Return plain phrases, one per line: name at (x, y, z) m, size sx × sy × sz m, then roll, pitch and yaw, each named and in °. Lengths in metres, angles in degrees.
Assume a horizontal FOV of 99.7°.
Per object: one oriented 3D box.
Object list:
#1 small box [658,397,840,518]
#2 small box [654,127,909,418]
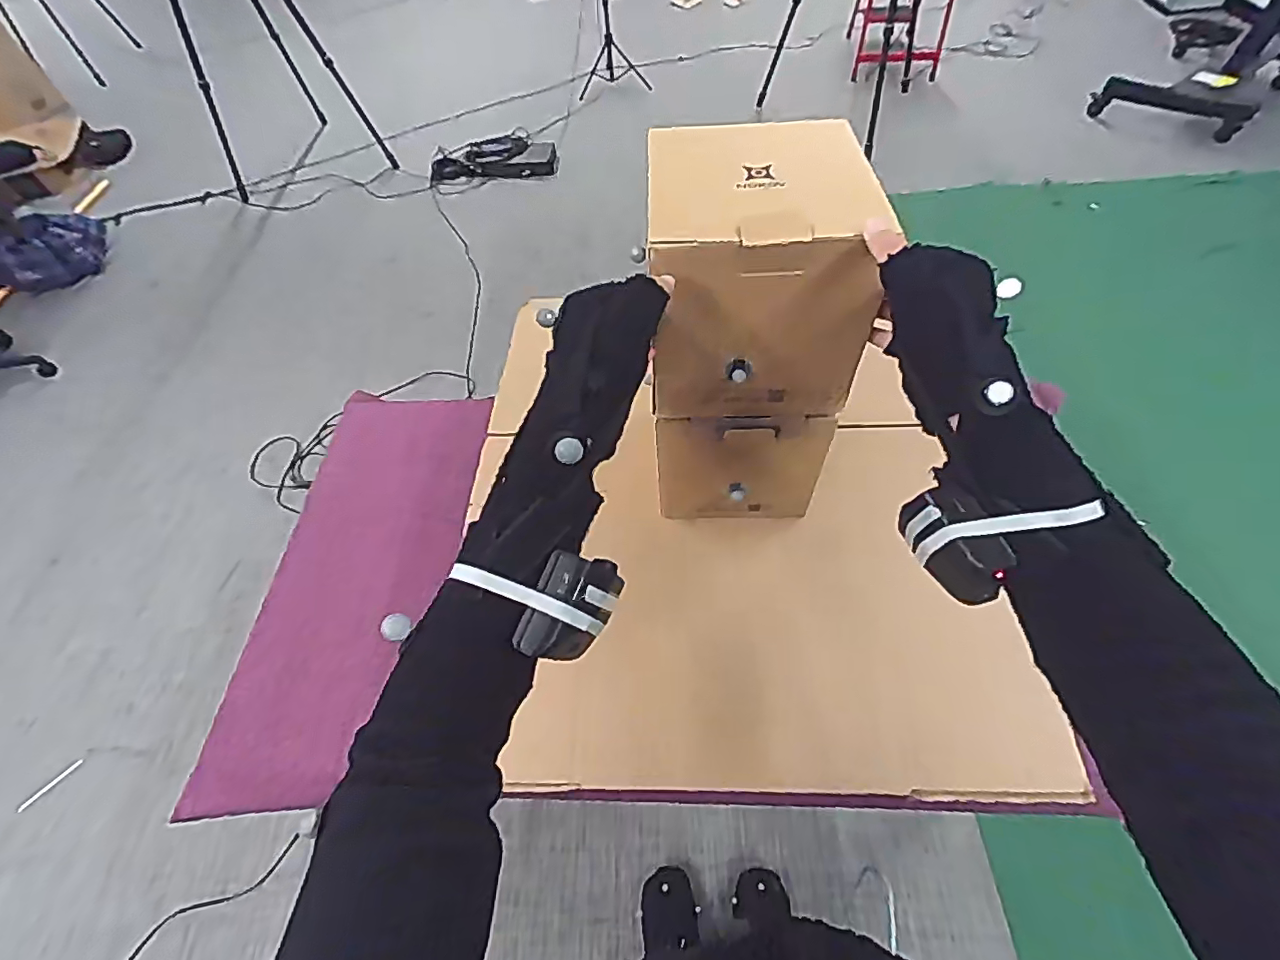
small box at (0.104, -0.075, 0.597) m, size 0.168 × 0.176 × 0.179 m, roll -1°, pitch 55°, yaw 4°
small box at (0.095, -0.173, 0.463) m, size 0.168 × 0.176 × 0.179 m, roll -1°, pitch 55°, yaw 2°
